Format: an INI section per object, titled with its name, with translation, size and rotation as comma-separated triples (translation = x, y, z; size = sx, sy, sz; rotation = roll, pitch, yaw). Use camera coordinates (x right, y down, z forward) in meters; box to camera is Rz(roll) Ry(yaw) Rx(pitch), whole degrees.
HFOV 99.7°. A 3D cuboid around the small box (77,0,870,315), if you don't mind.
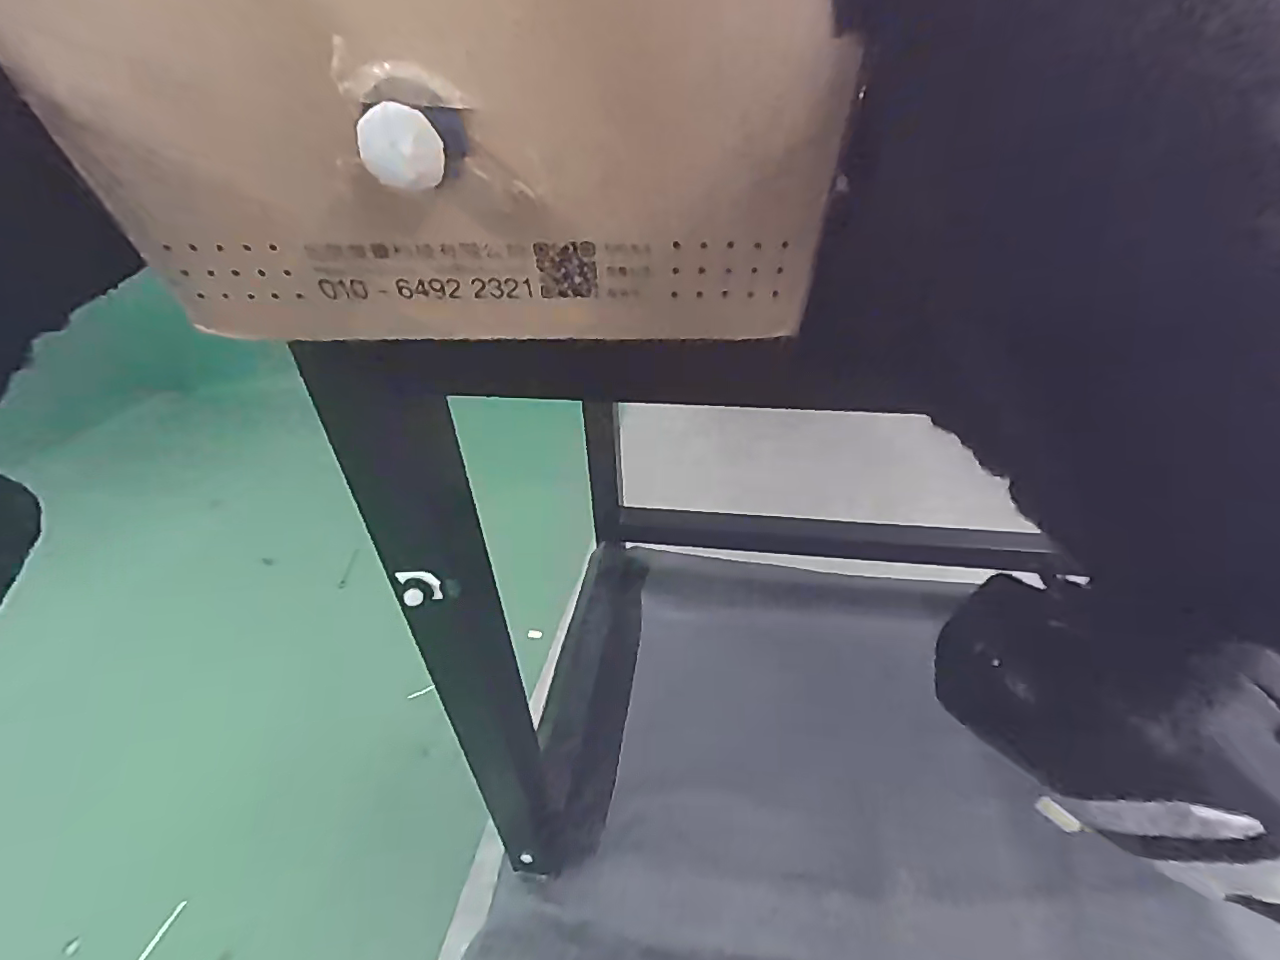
[small box]
translation = -0.036, -0.166, 0.147
size = 0.168, 0.176, 0.179
rotation = 0, 50, 1
